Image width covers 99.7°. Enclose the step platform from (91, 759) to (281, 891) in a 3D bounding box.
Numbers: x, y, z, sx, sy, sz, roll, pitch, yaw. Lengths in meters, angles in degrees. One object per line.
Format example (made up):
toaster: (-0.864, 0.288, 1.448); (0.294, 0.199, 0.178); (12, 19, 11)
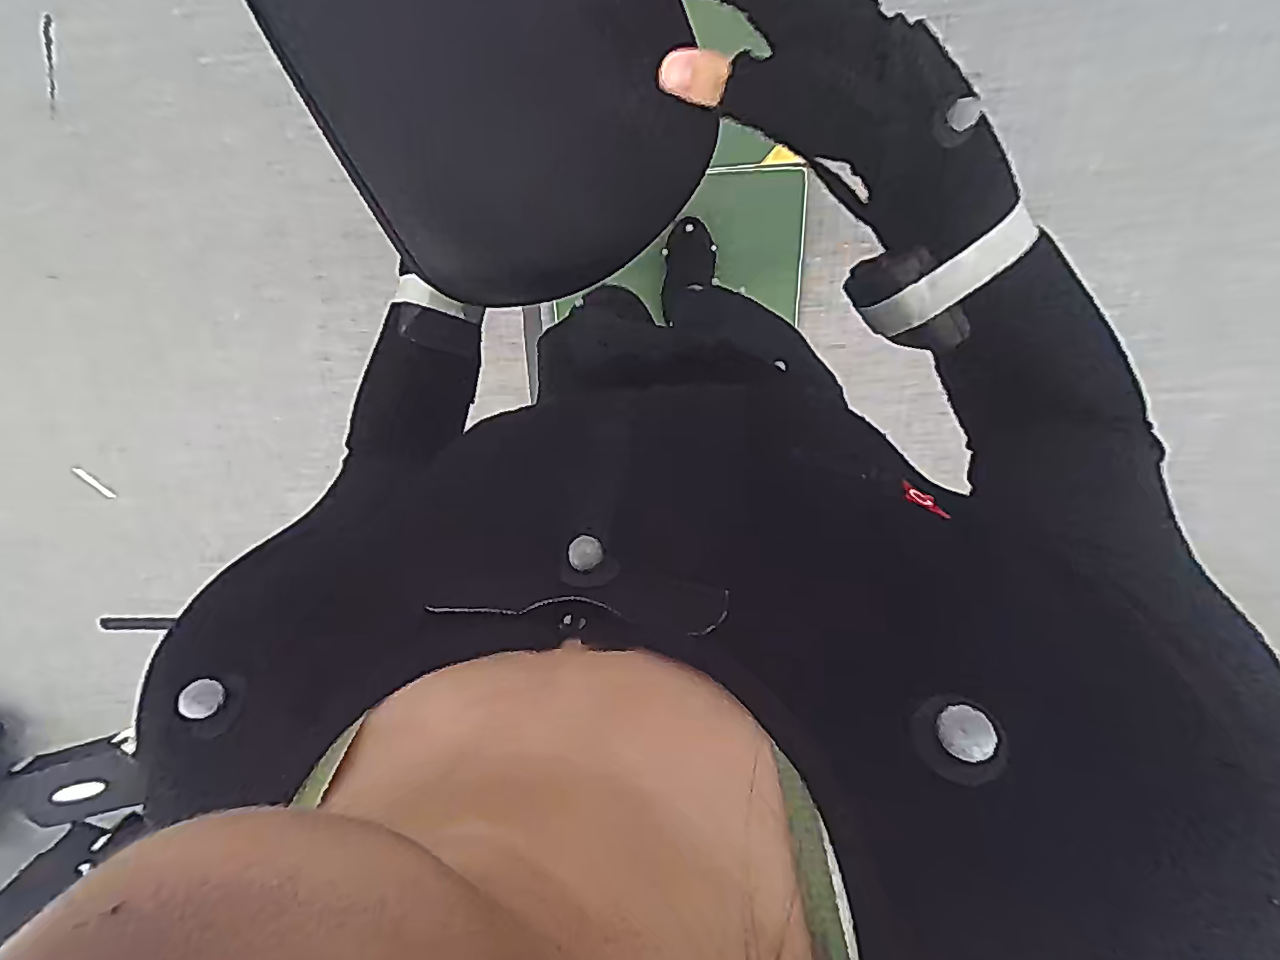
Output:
step platform: (-1.785, 1.363, 2.126); (0.684, 0.204, 0.286); (-29, 109, 13)
